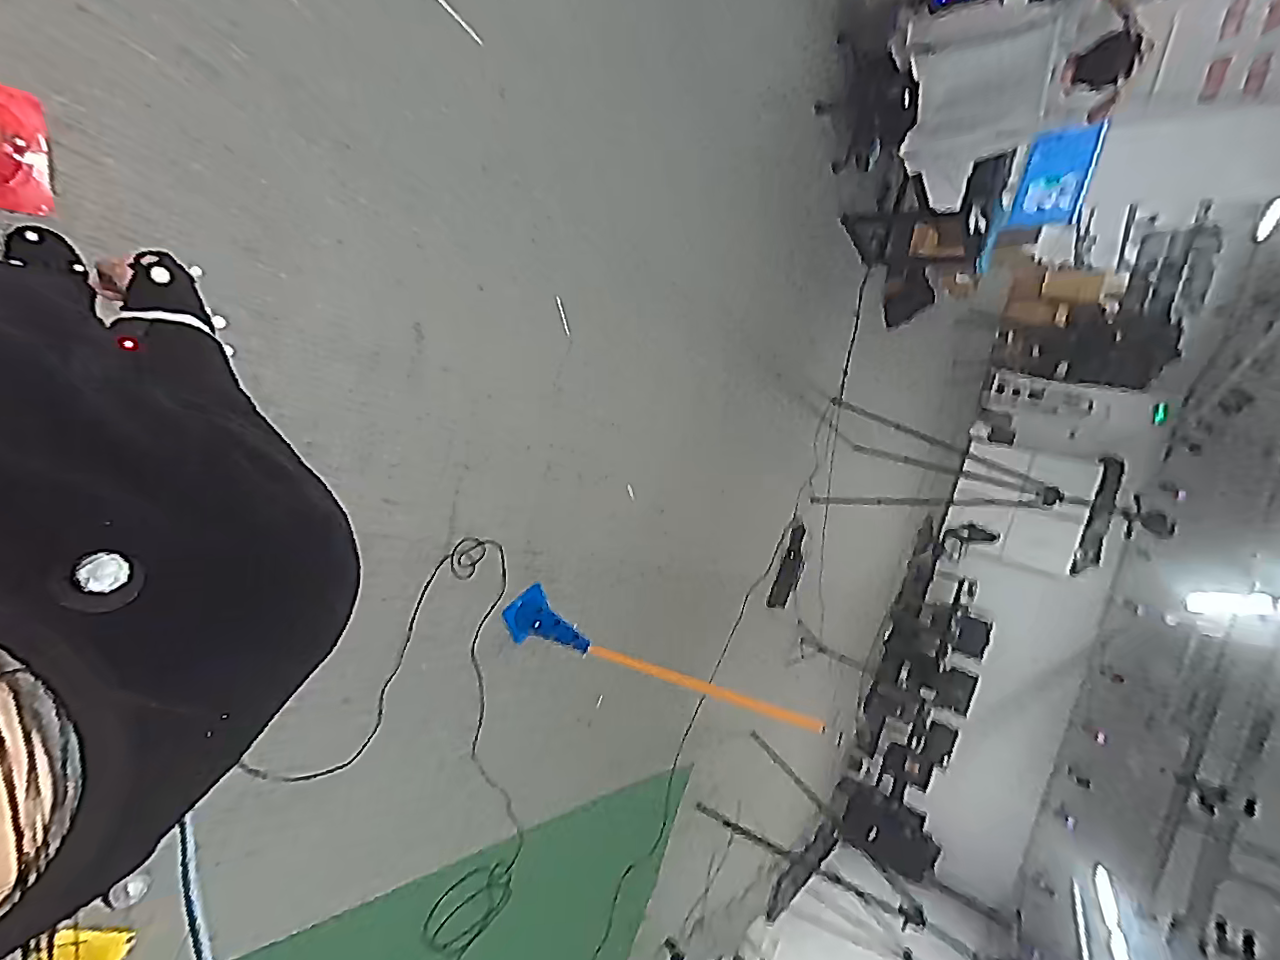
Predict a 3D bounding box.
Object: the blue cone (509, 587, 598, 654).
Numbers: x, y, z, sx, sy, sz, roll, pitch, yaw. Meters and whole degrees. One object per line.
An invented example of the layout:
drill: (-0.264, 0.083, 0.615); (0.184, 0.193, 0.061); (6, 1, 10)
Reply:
blue cone: (-0.310, 0.576, 2.078); (0.193, 0.380, 0.192); (-44, 134, -36)
